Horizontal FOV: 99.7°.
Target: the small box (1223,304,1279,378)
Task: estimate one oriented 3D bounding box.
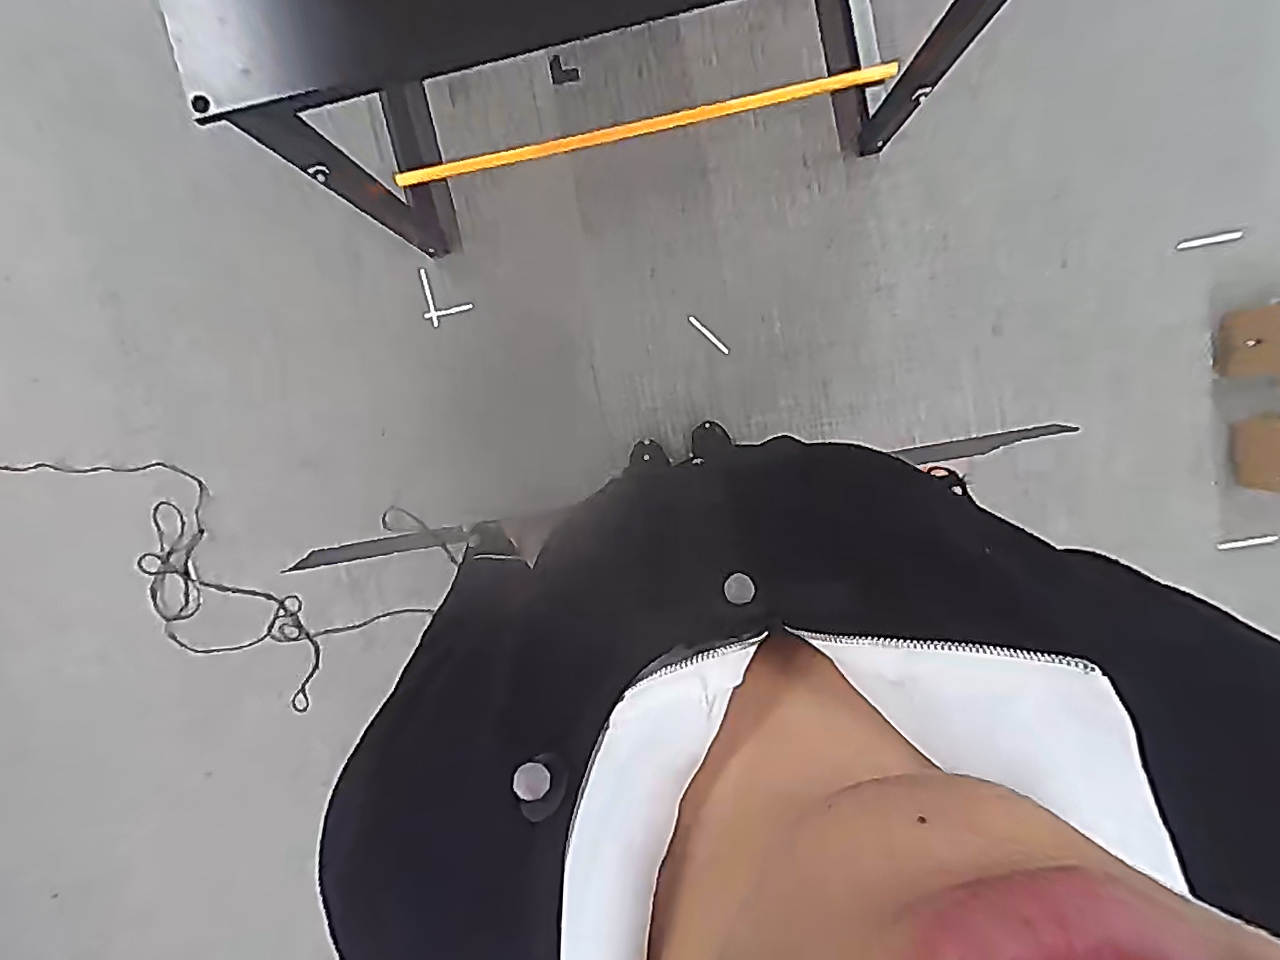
[{"bbox_3d":[1.571,-0.343,1.302,0.179,0.176,0.168,-9,97,4],"label":"small box"}]

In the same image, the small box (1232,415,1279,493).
[{"bbox_3d":[1.634,-0.066,1.336,0.168,0.176,0.179,-12,97,3],"label":"small box"}]
